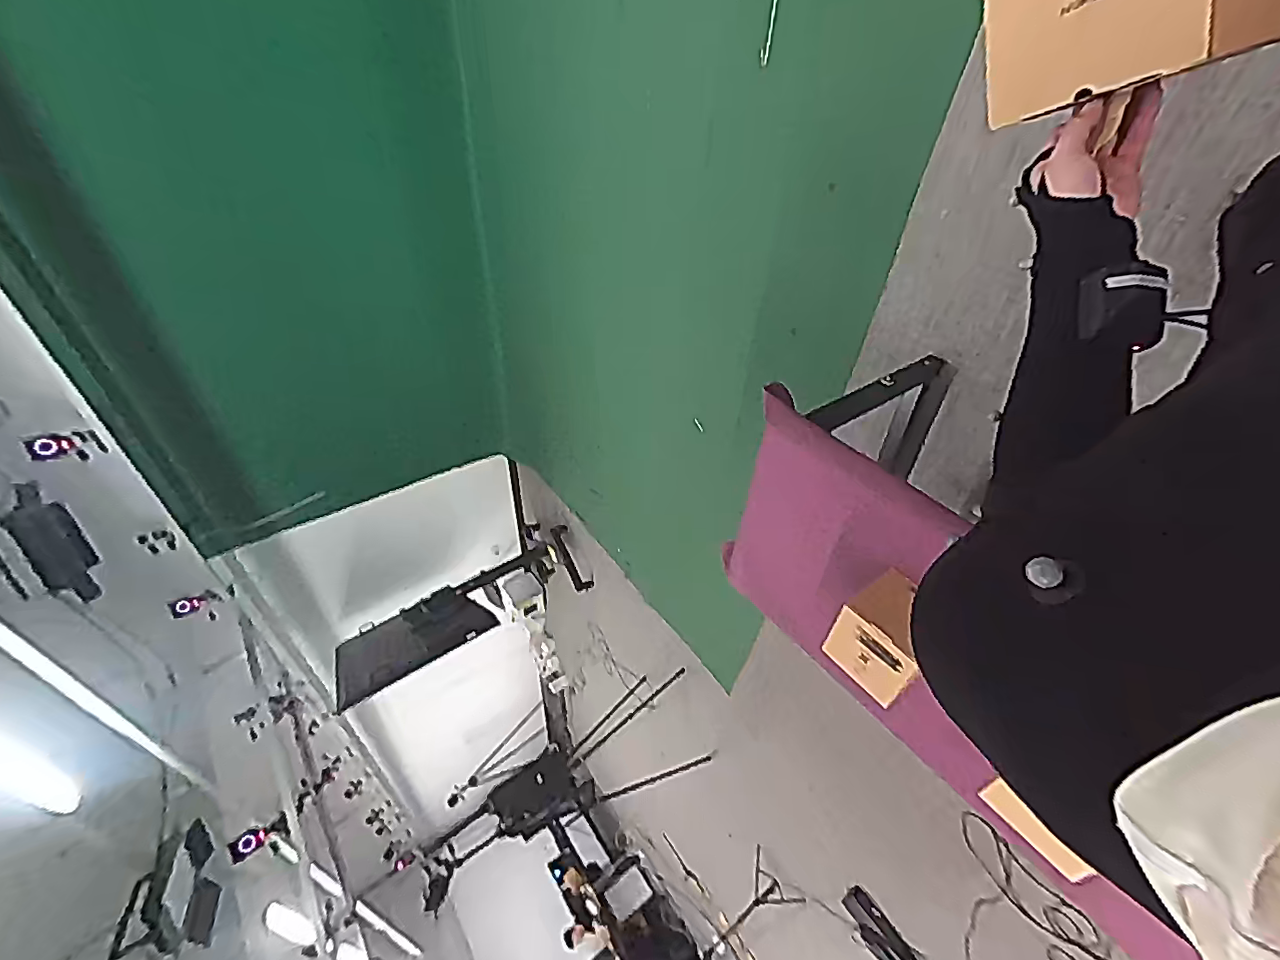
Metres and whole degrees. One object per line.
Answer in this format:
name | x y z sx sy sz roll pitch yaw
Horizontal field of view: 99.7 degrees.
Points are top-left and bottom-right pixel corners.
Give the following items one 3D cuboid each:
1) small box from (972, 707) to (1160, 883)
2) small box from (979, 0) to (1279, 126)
small box | 0.721 0.529 0.920 0.168 0.176 0.179 43 143 35
small box | 0.420 -0.436 0.456 0.168 0.176 0.179 29 141 61
